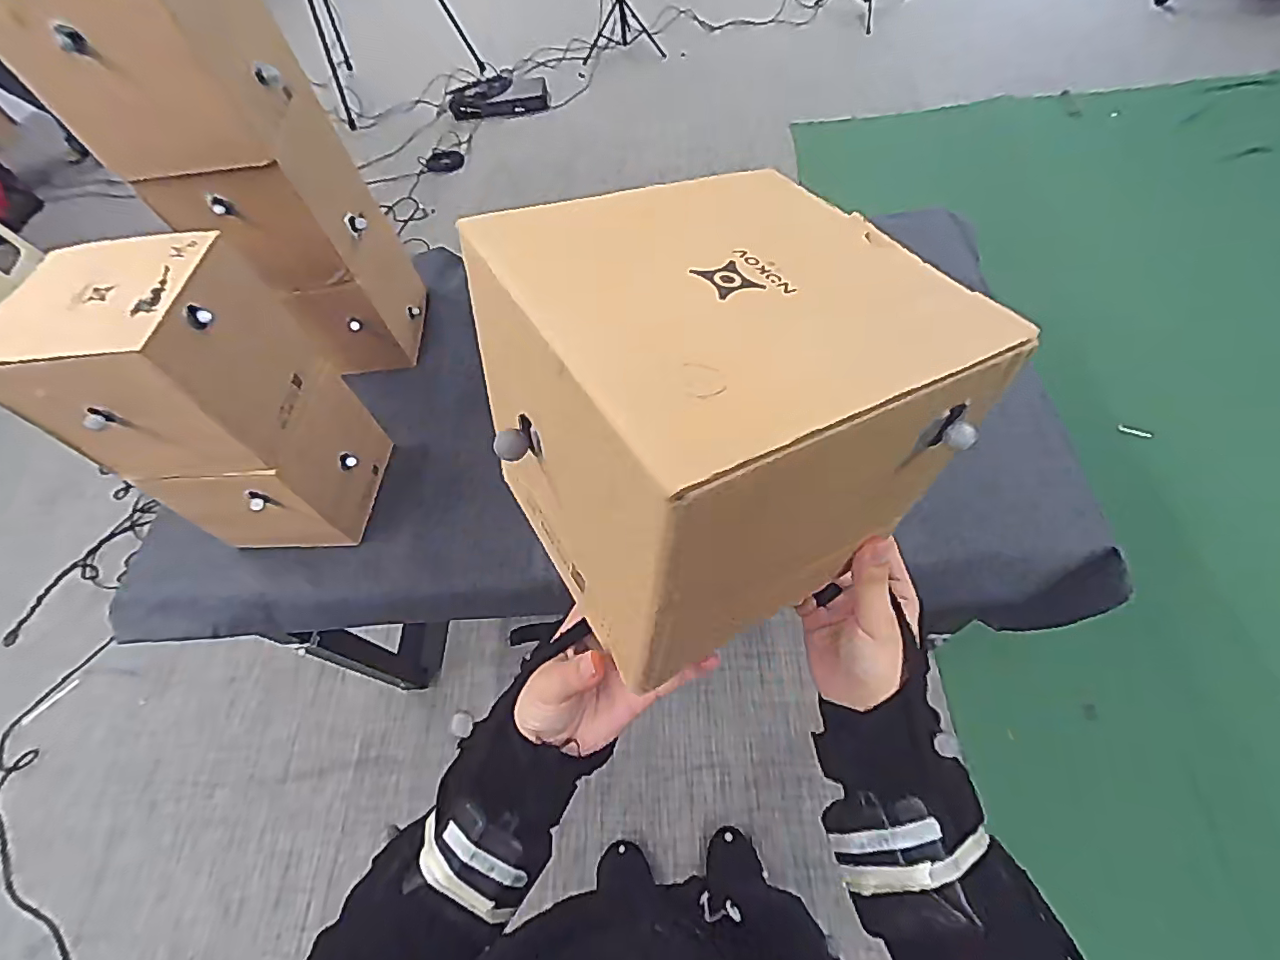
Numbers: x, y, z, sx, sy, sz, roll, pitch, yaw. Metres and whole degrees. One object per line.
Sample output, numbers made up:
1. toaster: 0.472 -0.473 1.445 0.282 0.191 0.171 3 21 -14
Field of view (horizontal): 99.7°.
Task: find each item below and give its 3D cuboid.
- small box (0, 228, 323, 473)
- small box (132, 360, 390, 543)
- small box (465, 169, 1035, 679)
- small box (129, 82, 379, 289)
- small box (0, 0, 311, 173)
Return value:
1. small box: -0.467 -0.119 0.542 0.179 0.176 0.168 -5 57 4
2. small box: -0.447 -0.029 0.677 0.179 0.176 0.168 -2 57 6
3. small box: 0.035 -0.030 0.278 0.179 0.176 0.168 -23 56 -24
4. small box: -0.470 -0.366 0.693 0.179 0.176 0.168 -6 61 2
5. small box: -0.482 -0.438 0.546 0.179 0.176 0.168 -5 61 3
